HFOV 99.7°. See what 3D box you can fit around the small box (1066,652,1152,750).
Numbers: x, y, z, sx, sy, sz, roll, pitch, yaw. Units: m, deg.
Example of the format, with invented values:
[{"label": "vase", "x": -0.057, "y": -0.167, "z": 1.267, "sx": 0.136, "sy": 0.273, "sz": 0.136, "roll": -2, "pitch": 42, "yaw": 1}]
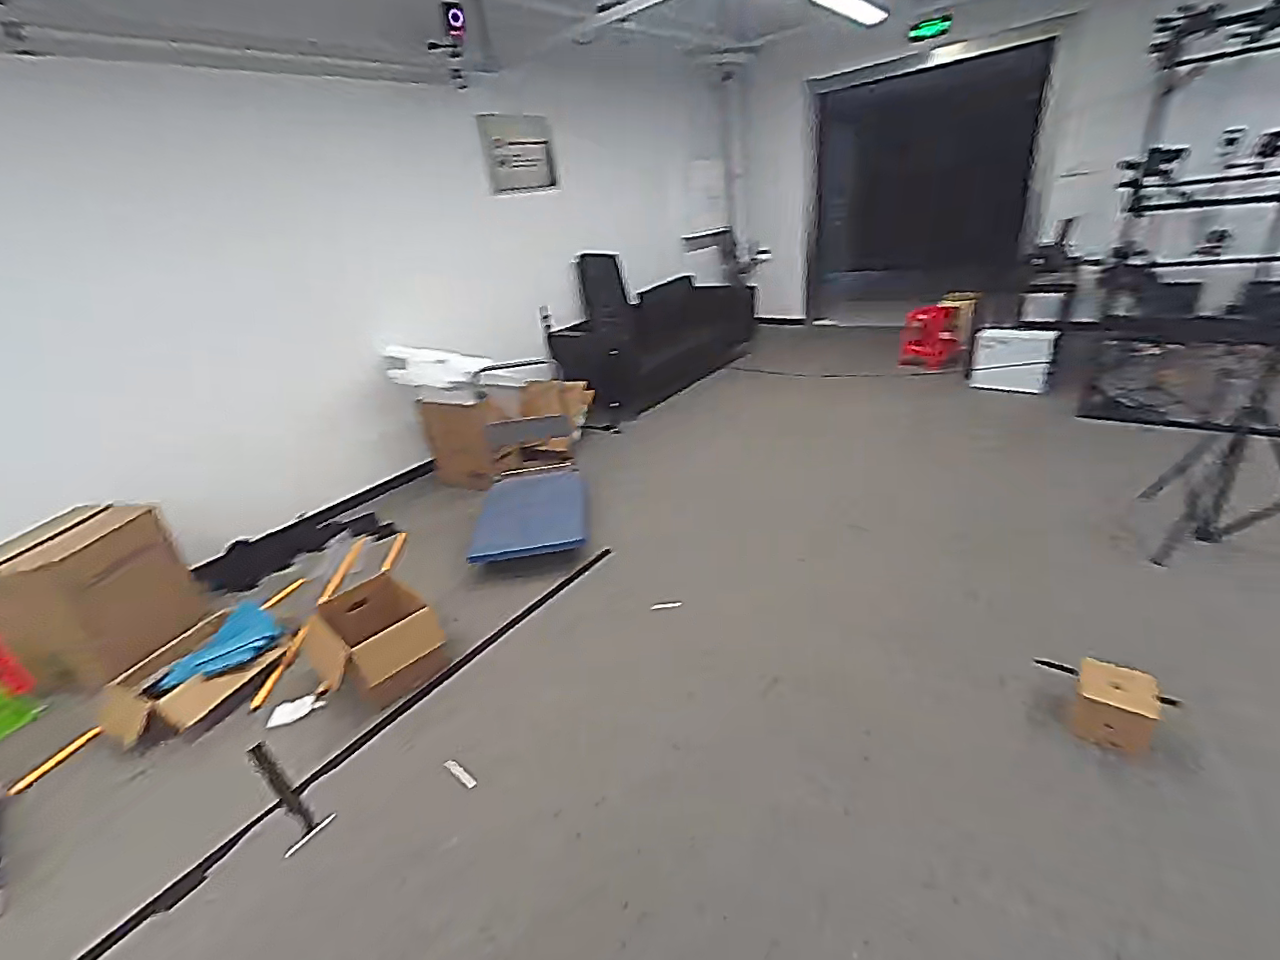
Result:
[{"label": "small box", "x": 1.384, "y": 0.654, "z": 1.602, "sx": 0.168, "sy": 0.176, "sz": 0.179, "roll": 12, "pitch": 32, "yaw": 35}]
